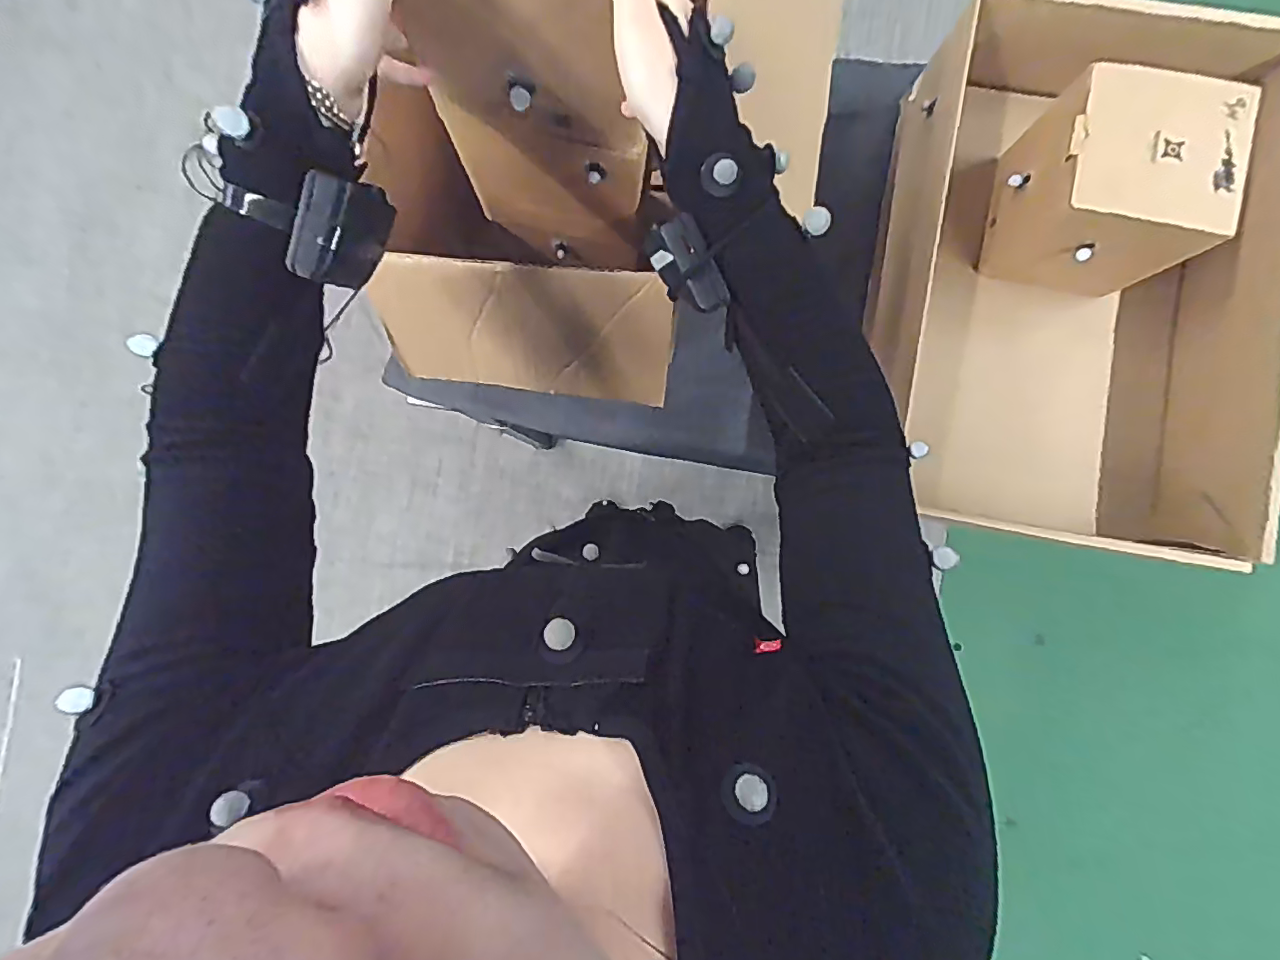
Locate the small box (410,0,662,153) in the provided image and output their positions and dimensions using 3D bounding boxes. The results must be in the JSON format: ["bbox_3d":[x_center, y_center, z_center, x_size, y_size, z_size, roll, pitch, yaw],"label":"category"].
[{"bbox_3d":[-0.065,-0.376,0.378,0.168,0.176,0.179,8,87,-3],"label":"small box"}]

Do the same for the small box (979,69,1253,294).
[{"bbox_3d":[0.551,-0.344,0.653,0.179,0.176,0.168,12,89,4],"label":"small box"}]
